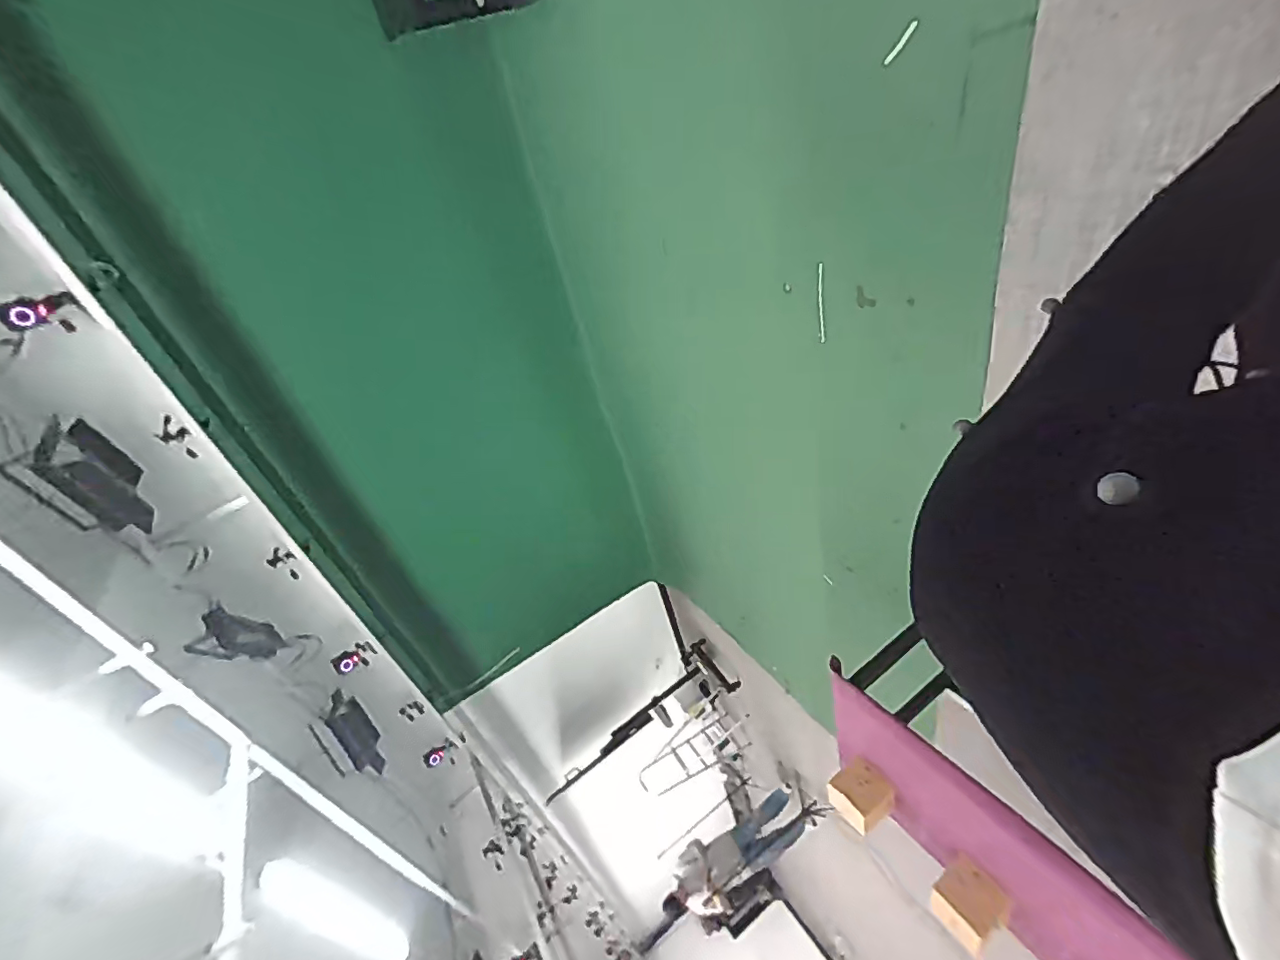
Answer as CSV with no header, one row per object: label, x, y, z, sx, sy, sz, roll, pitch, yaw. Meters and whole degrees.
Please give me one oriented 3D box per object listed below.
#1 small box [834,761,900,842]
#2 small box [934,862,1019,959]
small box,0.854,1.205,2.036,0.168,0.176,0.179,37,150,50
small box,1.071,1.373,1.723,0.168,0.176,0.179,37,151,51
